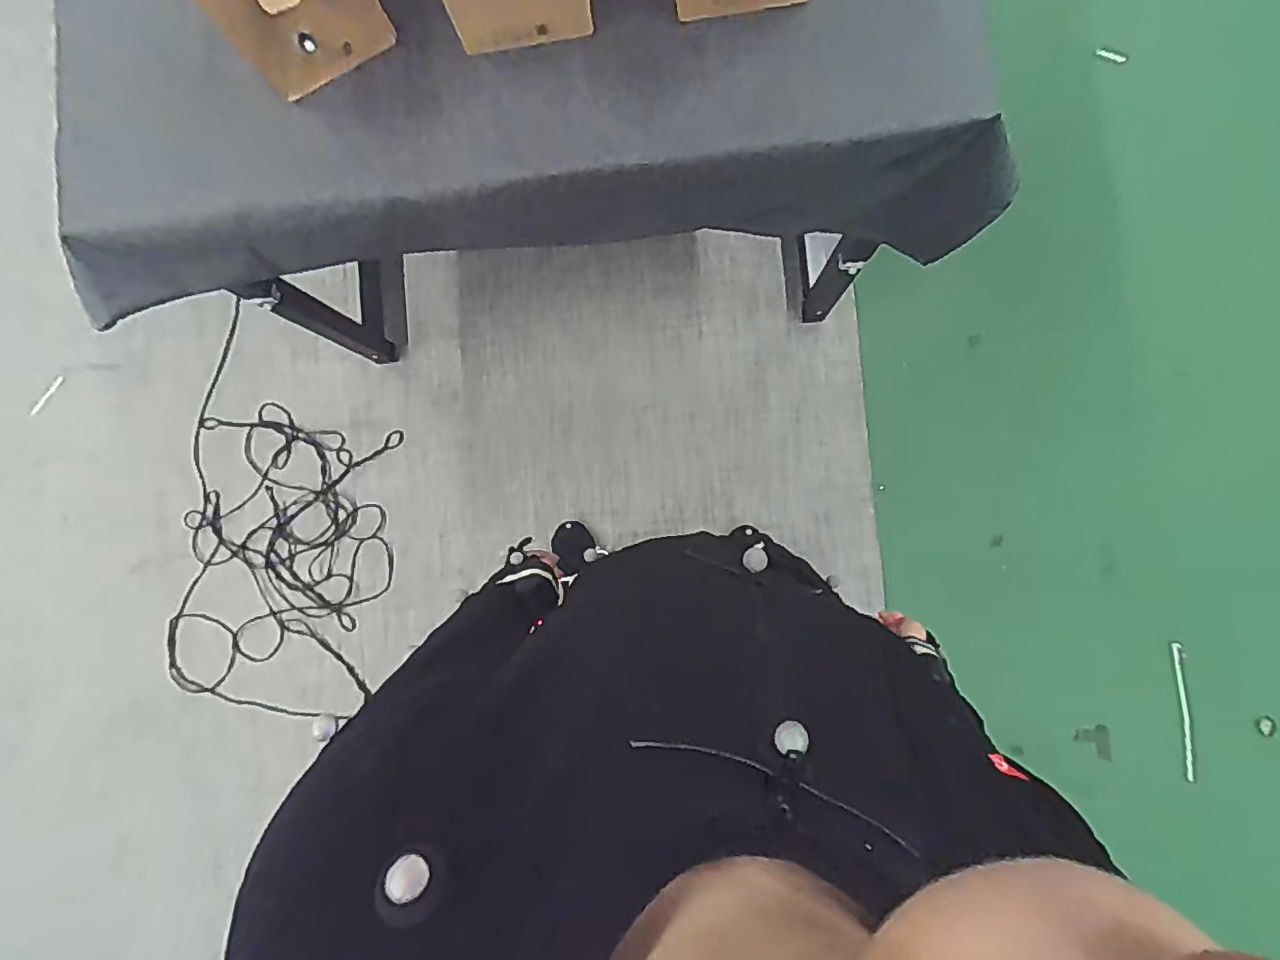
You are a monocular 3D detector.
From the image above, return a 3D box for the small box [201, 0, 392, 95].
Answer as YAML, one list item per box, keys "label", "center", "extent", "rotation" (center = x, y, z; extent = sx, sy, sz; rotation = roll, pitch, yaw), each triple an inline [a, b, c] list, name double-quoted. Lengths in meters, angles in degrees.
- label: "small box"
  center: [-0.430, -0.609, 0.627]
  extent: [0.168, 0.176, 0.179]
  rotation: [-28, 86, 1]

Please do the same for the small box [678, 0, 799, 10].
- label: "small box"
  center: [0.115, -0.666, 0.593]
  extent: [0.168, 0.176, 0.179]
  rotation: [-6, 85, 3]
